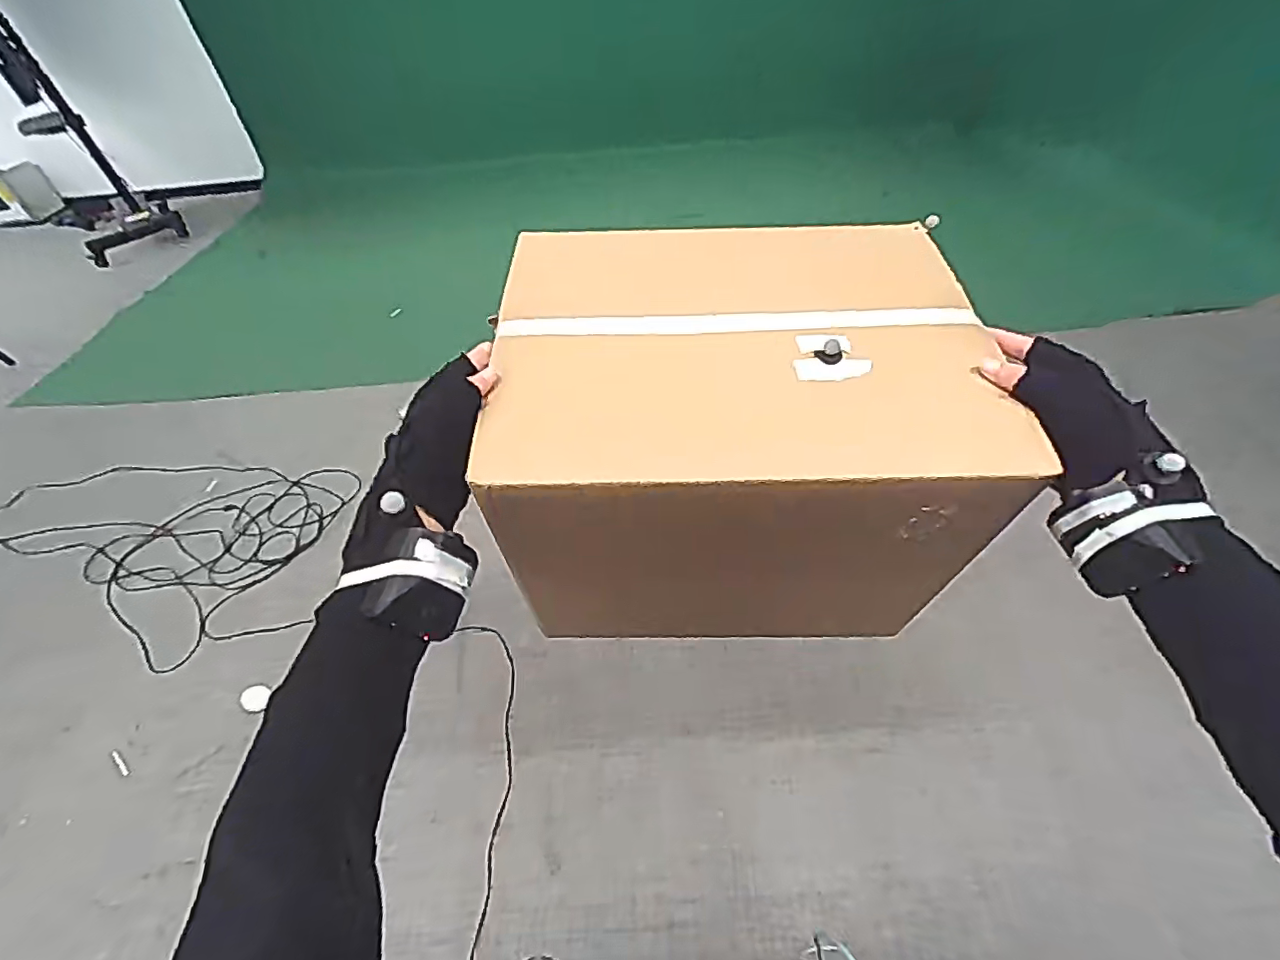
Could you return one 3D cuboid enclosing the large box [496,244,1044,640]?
[{"bbox_3d":[0.090,-0.030,0.591,0.408,0.320,0.320,-1,54,0],"label":"large box"}]
